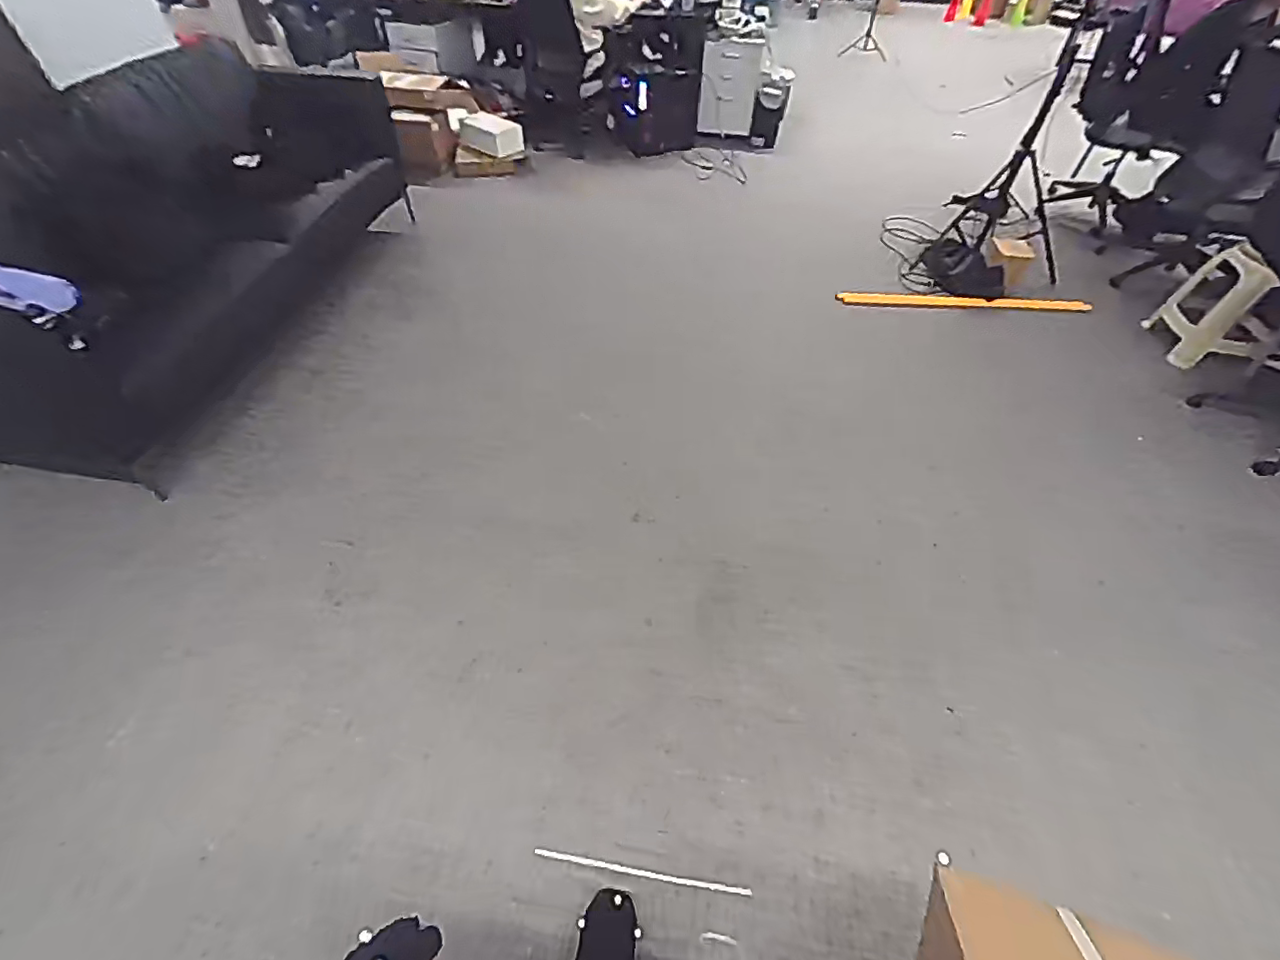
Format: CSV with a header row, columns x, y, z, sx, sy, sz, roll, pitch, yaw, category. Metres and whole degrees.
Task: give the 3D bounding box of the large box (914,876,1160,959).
x,y,z,sx,sy,sz,roll,pitch,yaw,category
0.481,0.752,0.566,0.320,0.408,0.320,12,92,18,large box
